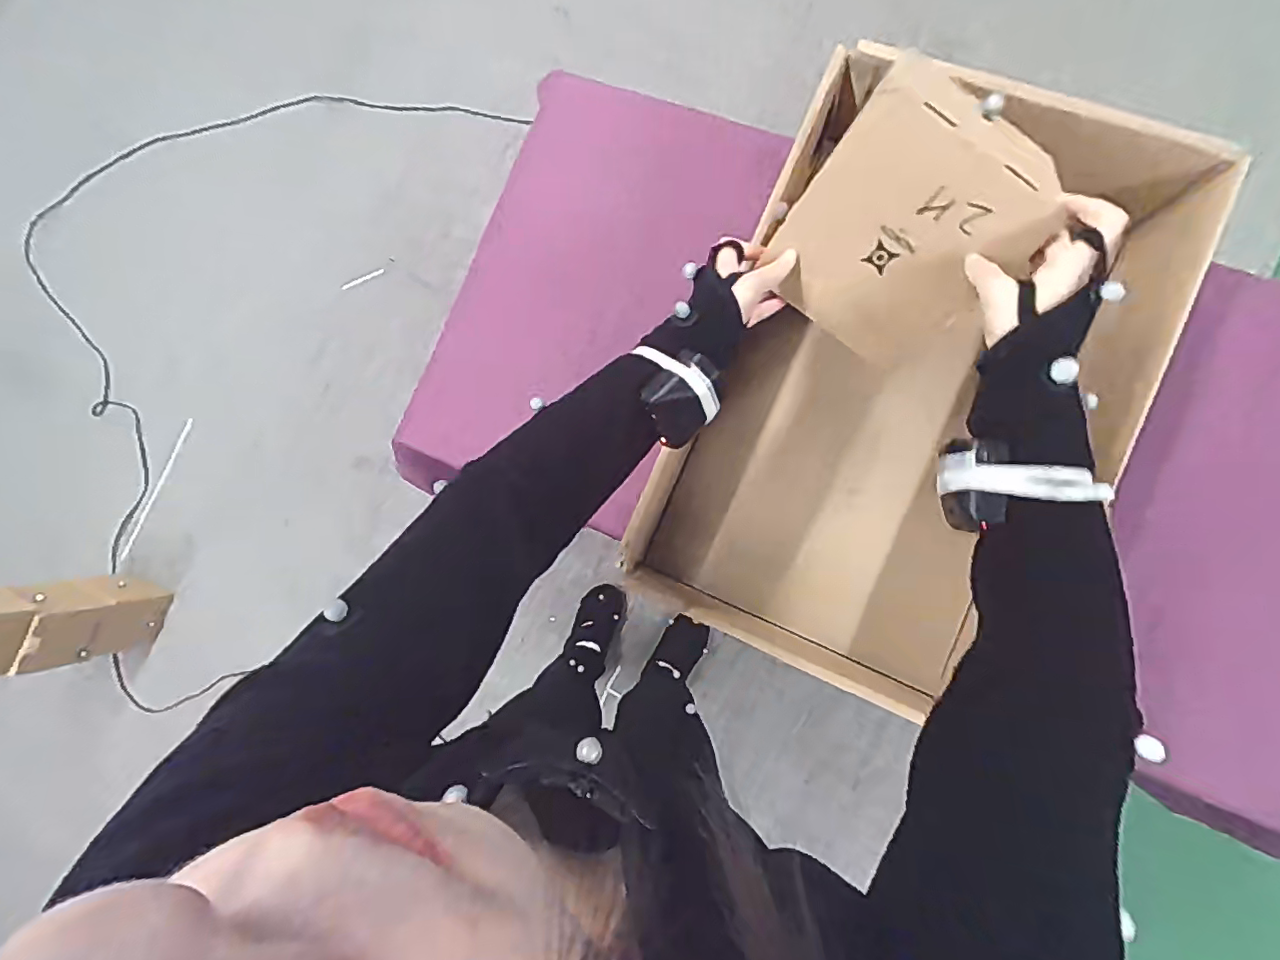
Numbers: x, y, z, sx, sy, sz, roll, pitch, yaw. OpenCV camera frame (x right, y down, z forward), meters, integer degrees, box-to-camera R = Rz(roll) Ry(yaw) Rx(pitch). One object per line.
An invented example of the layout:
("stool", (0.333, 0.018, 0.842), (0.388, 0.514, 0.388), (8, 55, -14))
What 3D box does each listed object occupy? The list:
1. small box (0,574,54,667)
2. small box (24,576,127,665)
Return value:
("small box", (-1.568, 0.336, 1.282), (0.168, 0.176, 0.179), (23, 90, 10))
("small box", (-1.542, 0.364, 1.442), (0.179, 0.176, 0.168), (23, 89, 11))
